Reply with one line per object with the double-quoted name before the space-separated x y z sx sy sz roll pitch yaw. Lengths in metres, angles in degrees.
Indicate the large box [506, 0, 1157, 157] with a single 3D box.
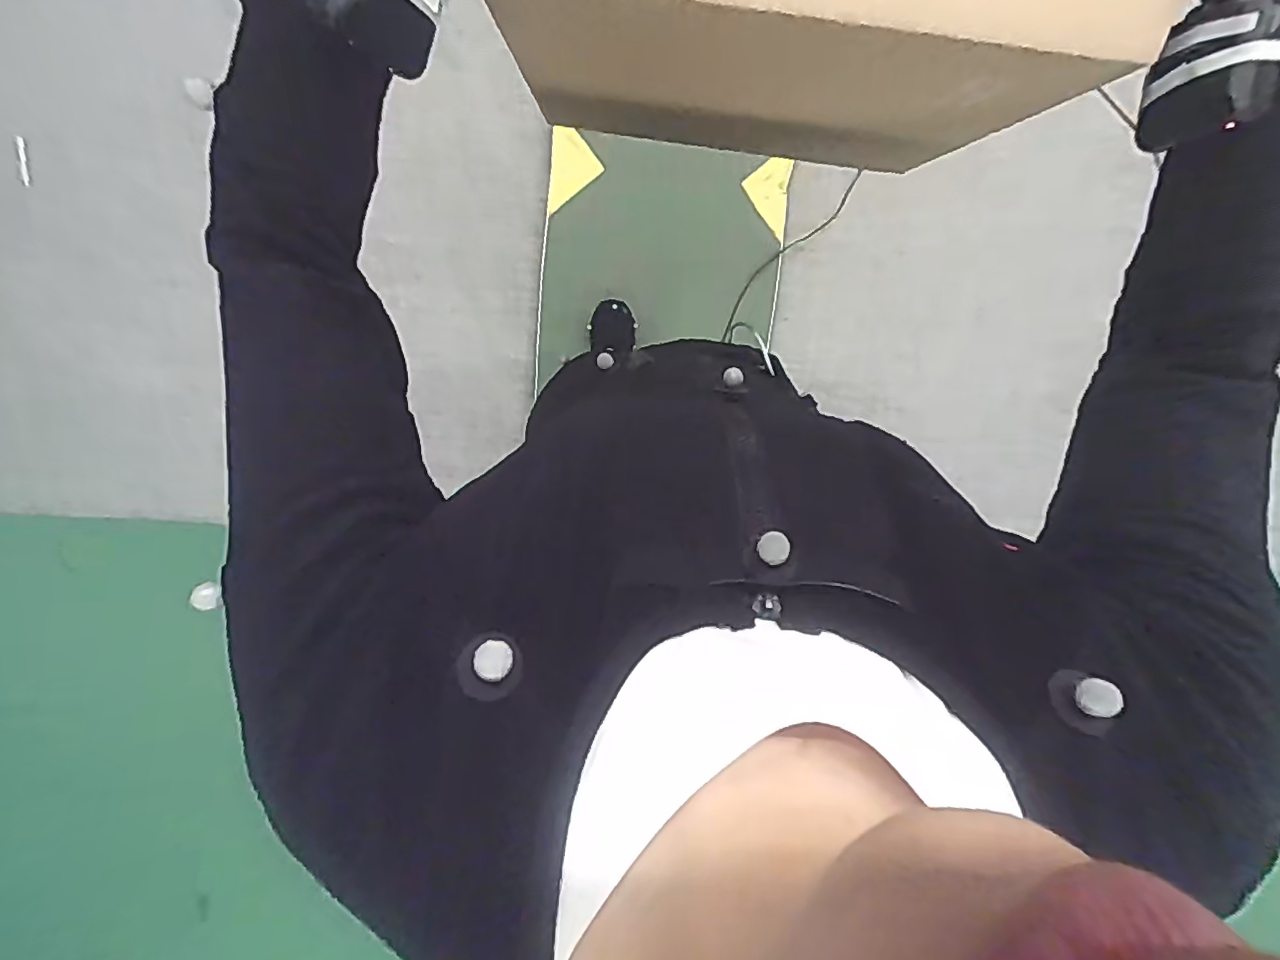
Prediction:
"large box" 0.115 -0.471 0.406 0.408 0.320 0.320 5 110 -4
